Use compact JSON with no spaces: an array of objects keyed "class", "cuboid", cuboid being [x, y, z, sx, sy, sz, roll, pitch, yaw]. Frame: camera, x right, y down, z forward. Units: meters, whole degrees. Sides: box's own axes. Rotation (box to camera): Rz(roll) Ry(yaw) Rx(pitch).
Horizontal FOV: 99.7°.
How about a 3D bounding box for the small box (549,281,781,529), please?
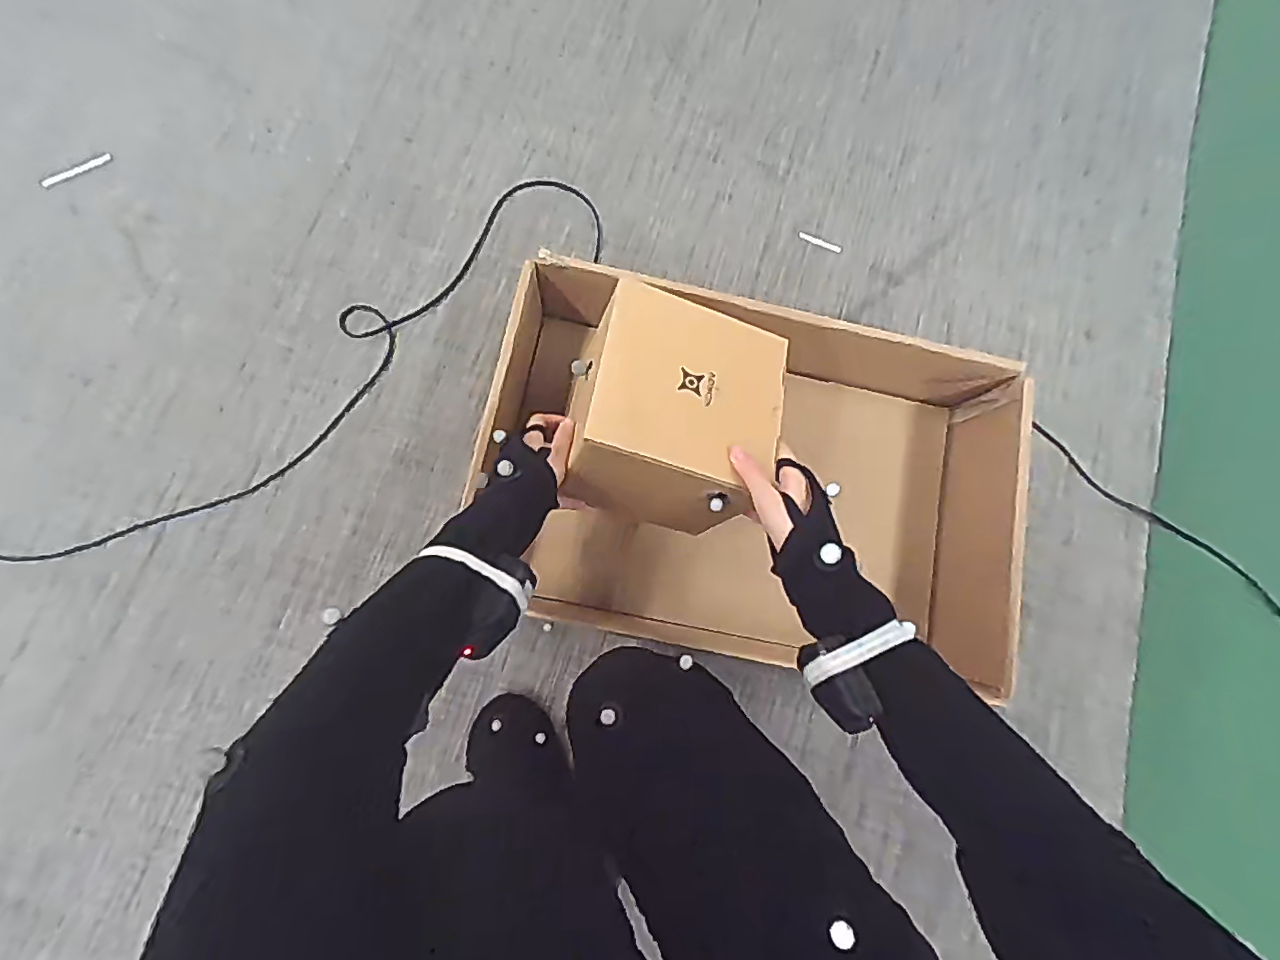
[{"class":"small box","cuboid":[0.017,-0.059,0.546,0.179,0.176,0.168,16,68,-15]}]
